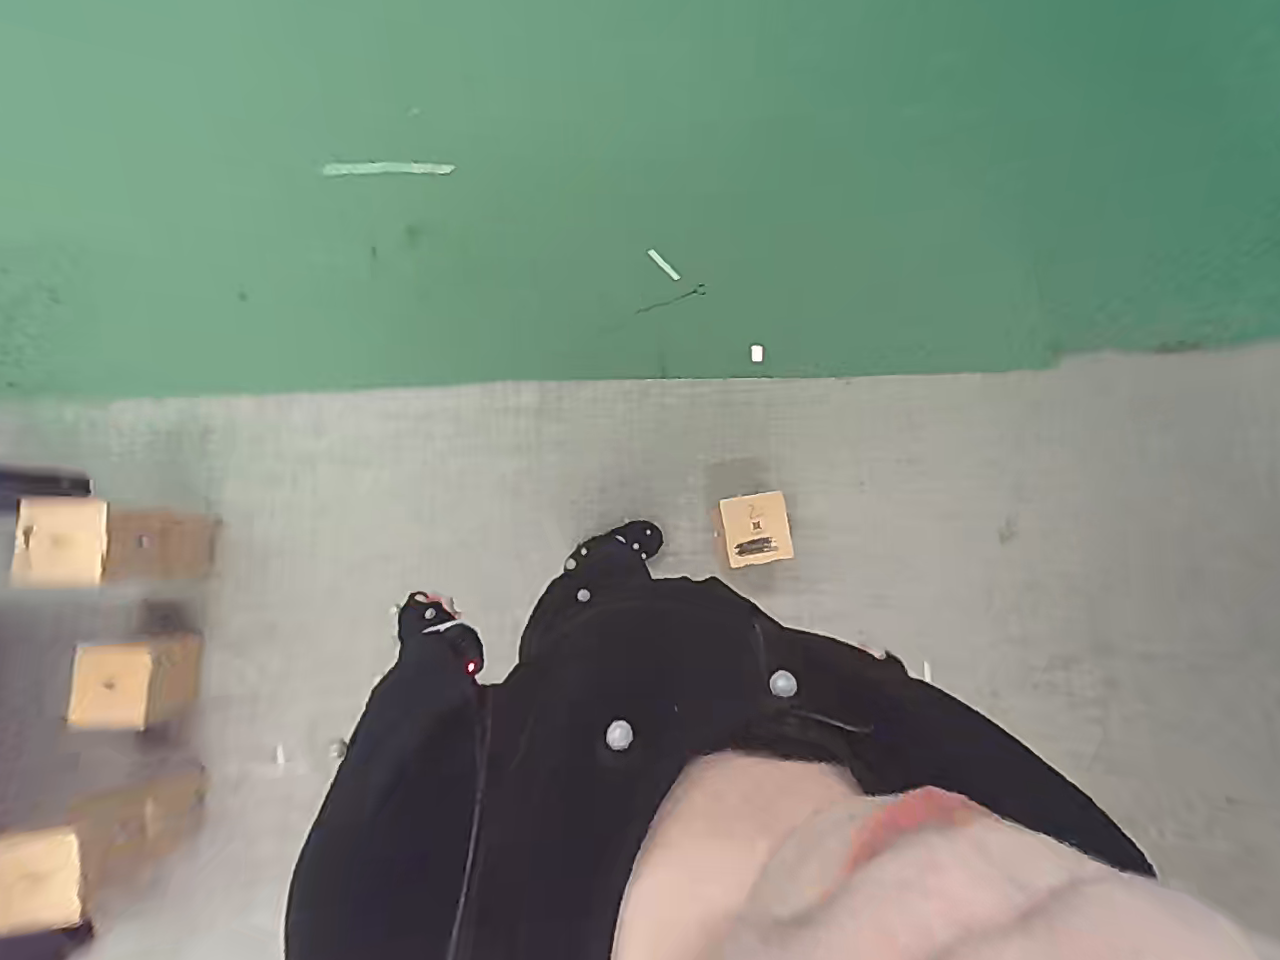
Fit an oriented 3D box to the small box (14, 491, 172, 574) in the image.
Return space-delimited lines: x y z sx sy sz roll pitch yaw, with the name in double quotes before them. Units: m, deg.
"small box" -1.194 0.115 1.196 0.179 0.176 0.168 3 84 -4
